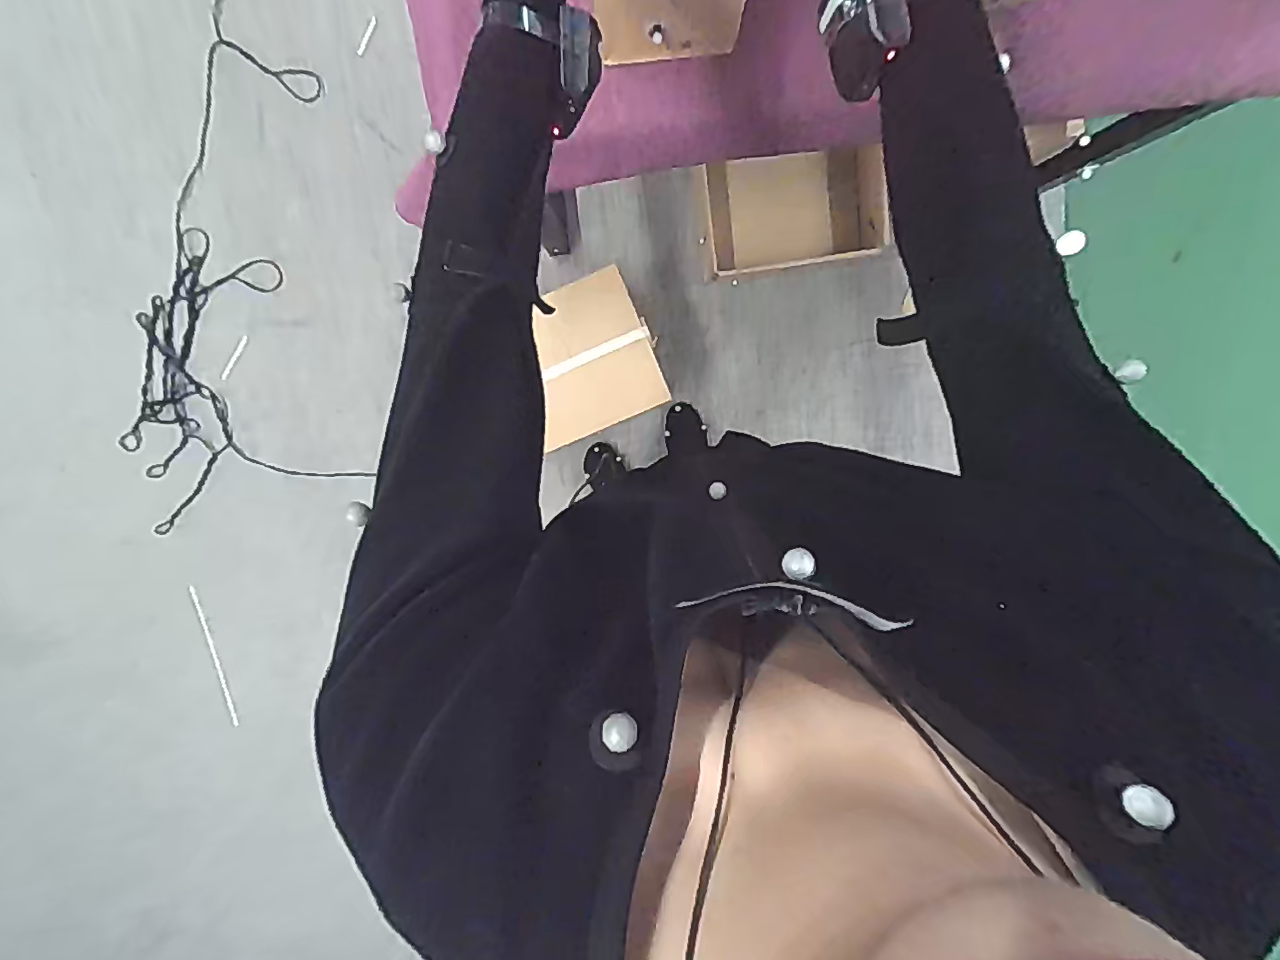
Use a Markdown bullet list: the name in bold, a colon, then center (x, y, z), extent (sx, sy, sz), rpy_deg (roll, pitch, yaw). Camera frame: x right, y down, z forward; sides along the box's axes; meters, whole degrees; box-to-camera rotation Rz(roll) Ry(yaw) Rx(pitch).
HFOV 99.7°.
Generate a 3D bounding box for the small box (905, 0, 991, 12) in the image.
- **small box**: center (0.382, -0.635, 0.559), extent (0.168, 0.176, 0.179), rpy_deg (-10, 100, 3)

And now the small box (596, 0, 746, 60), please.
- **small box**: center (0.029, -0.598, 0.577), extent (0.168, 0.176, 0.179), rpy_deg (-4, 101, 2)
